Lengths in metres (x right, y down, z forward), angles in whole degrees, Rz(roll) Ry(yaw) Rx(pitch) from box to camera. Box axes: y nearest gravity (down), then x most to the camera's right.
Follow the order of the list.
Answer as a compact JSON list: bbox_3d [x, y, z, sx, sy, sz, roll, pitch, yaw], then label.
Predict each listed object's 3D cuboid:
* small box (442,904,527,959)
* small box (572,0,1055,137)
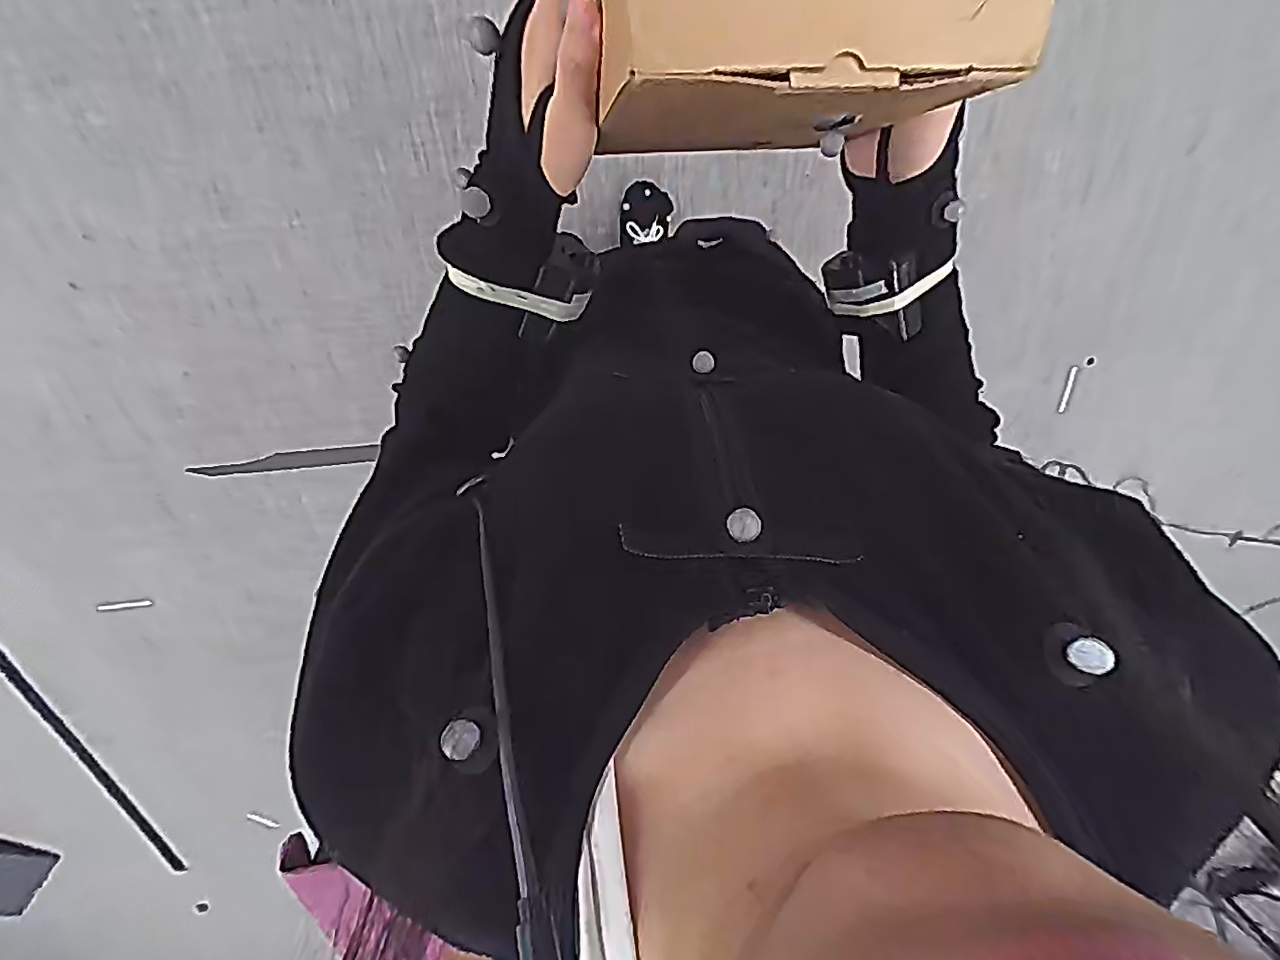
[{"bbox_3d":[-0.342,1.082,1.197,0.168,0.176,0.179,-2,117,-6],"label":"small box"},{"bbox_3d":[0.057,-0.263,0.237,0.168,0.176,0.179,-8,114,-9],"label":"small box"}]
